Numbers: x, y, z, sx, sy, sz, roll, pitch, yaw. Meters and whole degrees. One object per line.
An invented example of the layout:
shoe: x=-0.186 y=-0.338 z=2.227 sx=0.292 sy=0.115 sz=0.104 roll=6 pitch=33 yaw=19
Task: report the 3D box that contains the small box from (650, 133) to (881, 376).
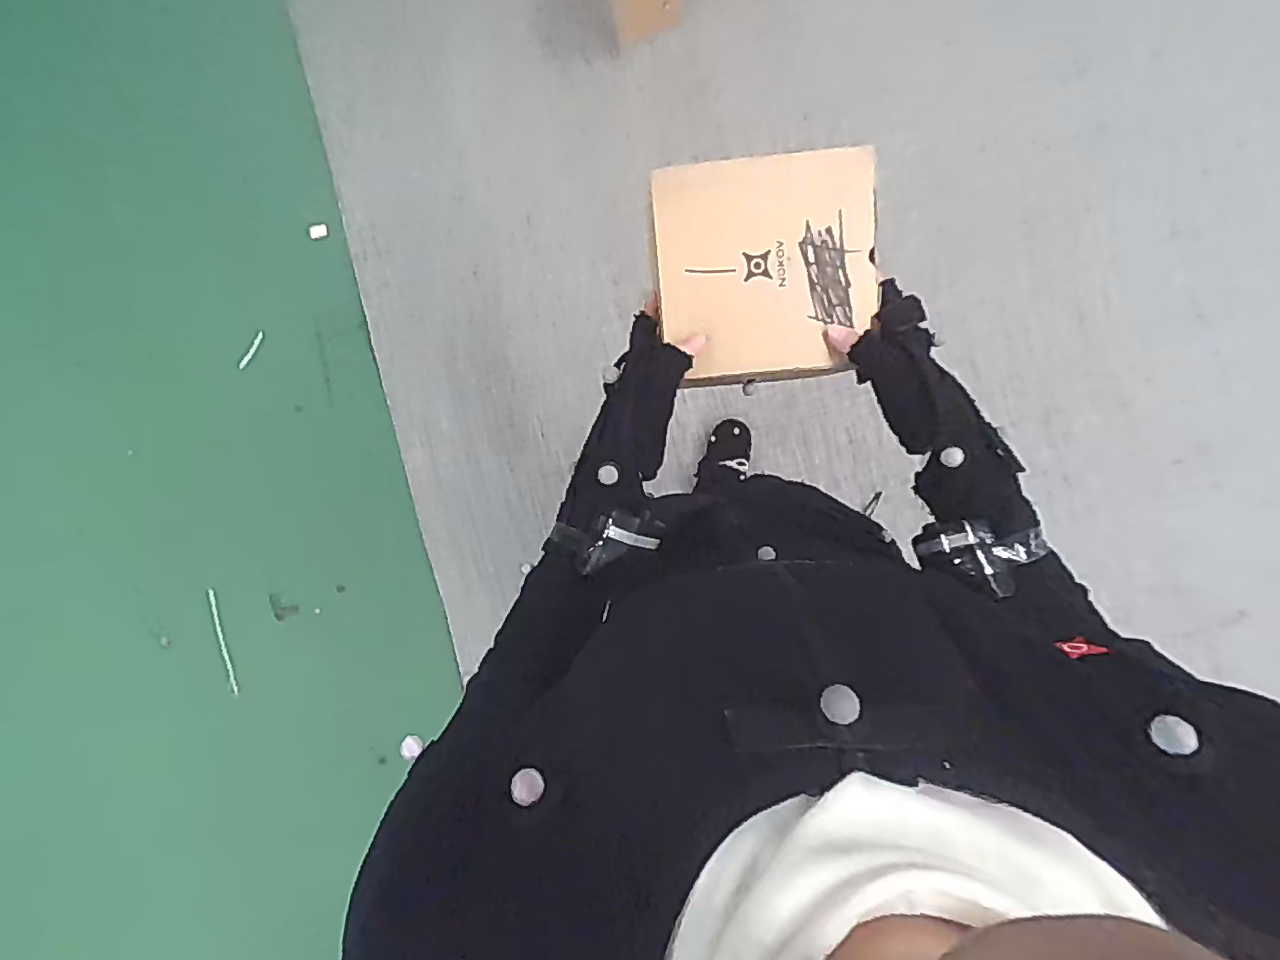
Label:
small box: x=0.102 y=-0.189 z=0.503 sx=0.179 sy=0.176 sz=0.168 roll=-5 pitch=97 yaw=2
